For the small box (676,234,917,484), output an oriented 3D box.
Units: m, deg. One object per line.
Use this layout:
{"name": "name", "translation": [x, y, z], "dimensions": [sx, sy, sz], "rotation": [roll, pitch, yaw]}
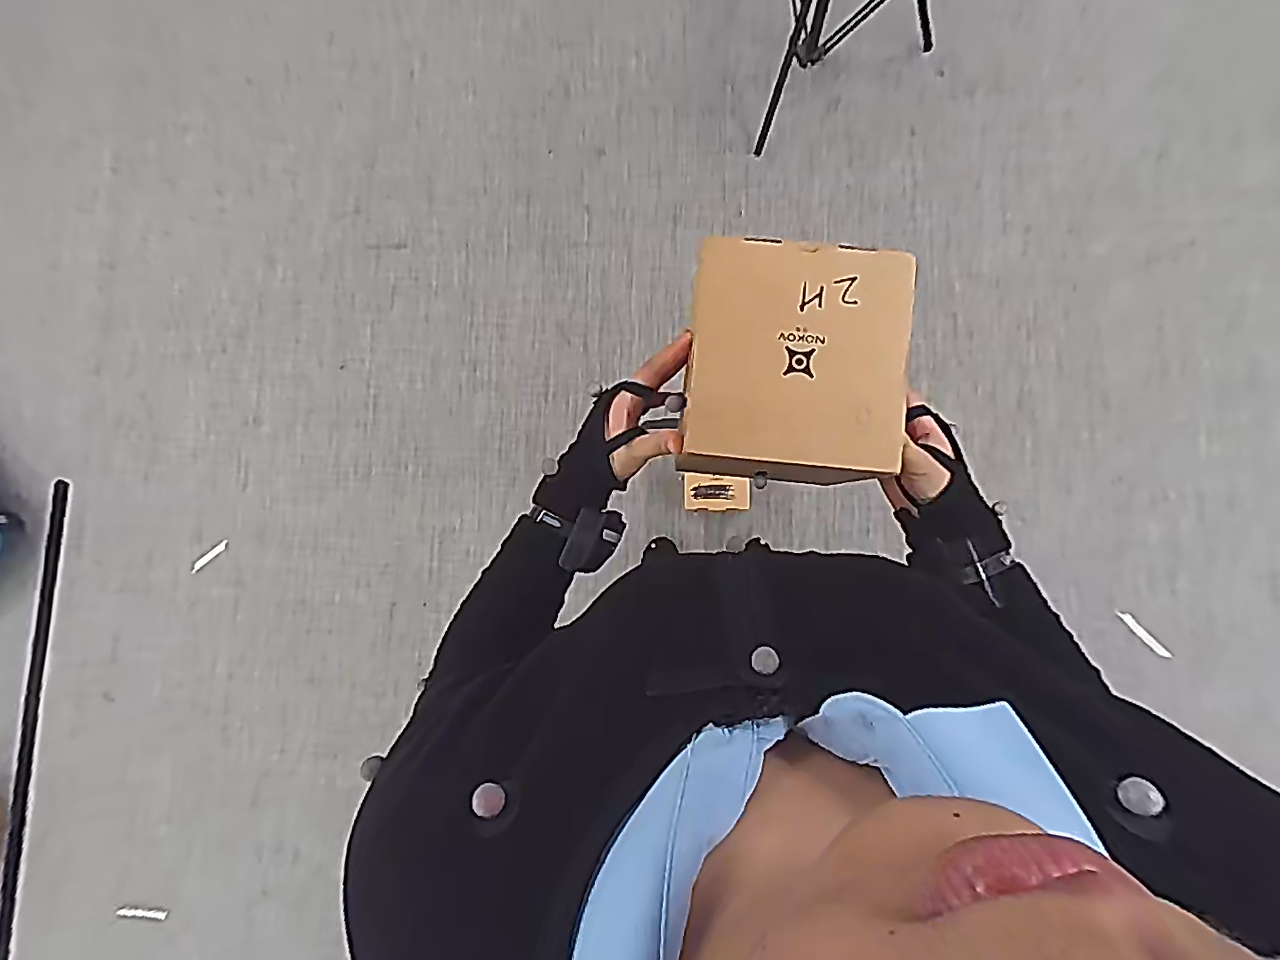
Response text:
{"name": "small box", "translation": [0.124, -0.092, 0.492], "dimensions": [0.168, 0.176, 0.179], "rotation": [6, 86, 1]}
